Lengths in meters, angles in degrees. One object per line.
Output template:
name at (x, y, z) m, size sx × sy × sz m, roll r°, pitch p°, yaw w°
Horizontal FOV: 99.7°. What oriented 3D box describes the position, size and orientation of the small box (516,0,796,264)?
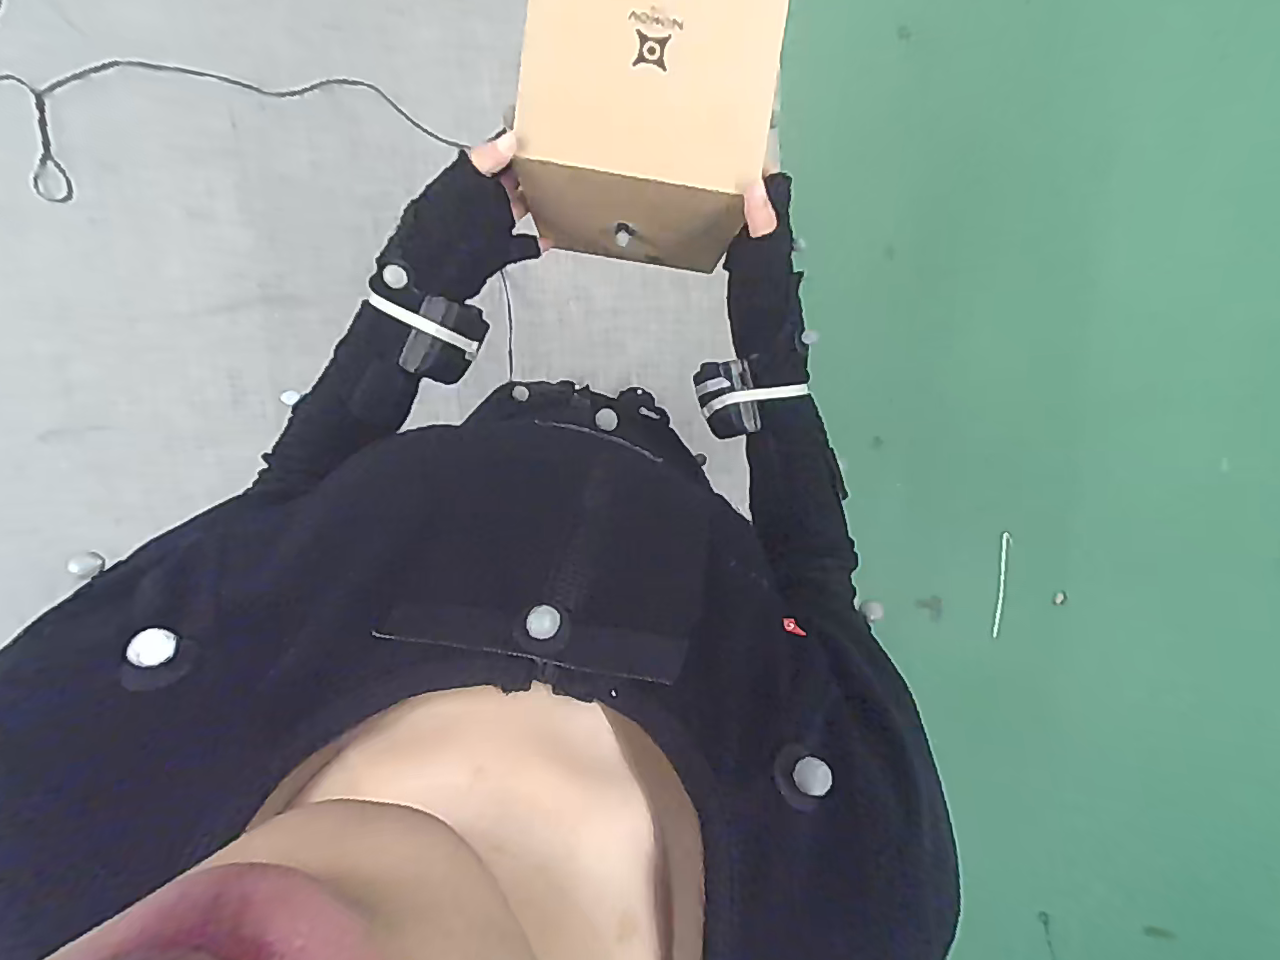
small box at (0.010, -0.287, 0.420) m, size 0.168 × 0.176 × 0.179 m, roll 8°, pitch 93°, yaw -4°
